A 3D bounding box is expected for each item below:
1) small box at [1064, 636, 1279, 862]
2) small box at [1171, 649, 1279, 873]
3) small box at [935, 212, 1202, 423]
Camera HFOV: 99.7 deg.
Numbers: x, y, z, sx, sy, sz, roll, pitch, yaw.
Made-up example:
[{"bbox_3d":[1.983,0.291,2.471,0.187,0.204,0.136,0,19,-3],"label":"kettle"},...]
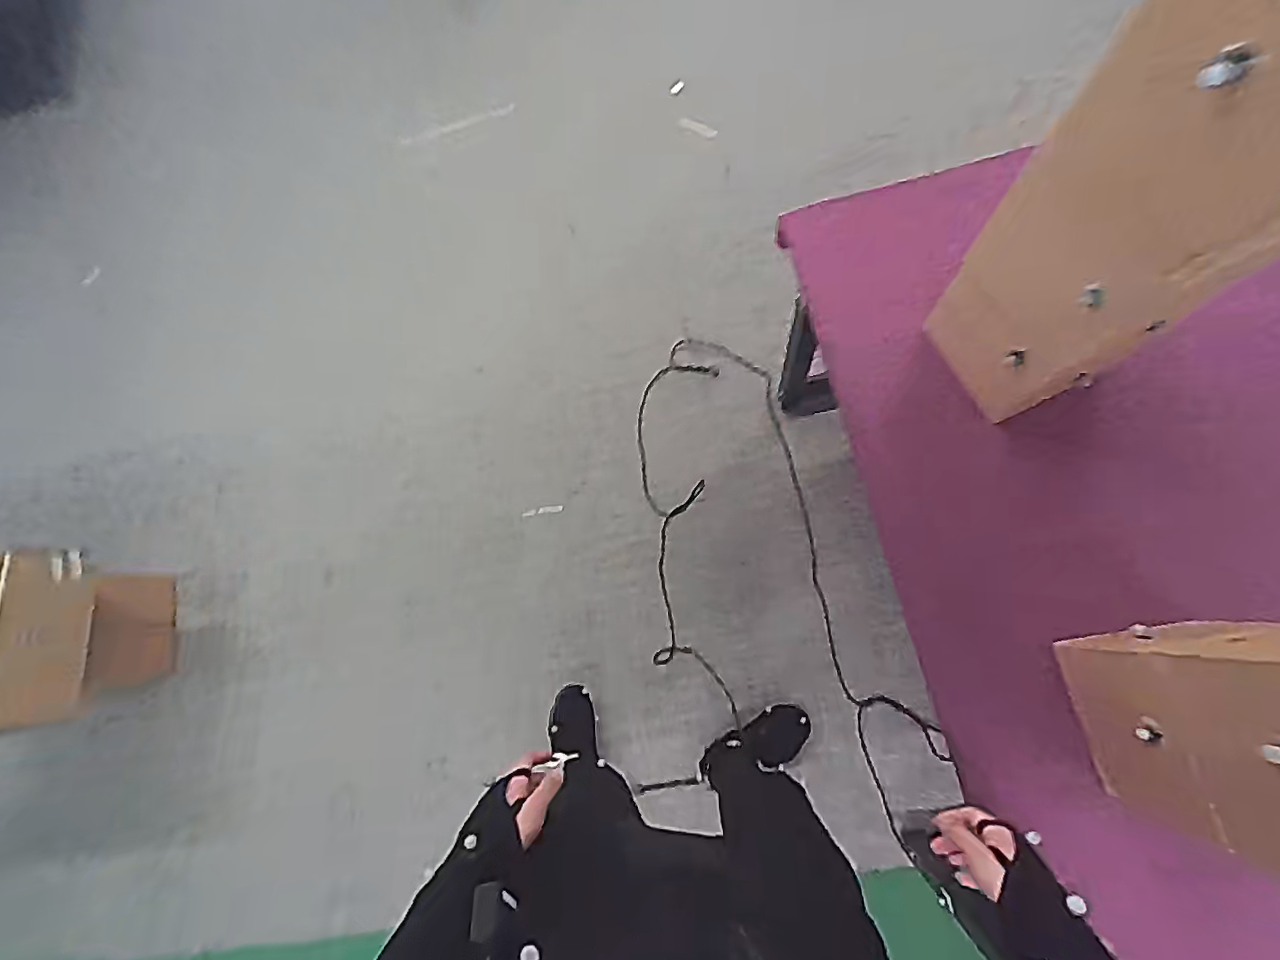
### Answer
[{"bbox_3d":[0.597,0.261,0.564,0.168,0.176,0.179,-10,74,6],"label":"small box"},{"bbox_3d":[0.576,0.218,0.408,0.168,0.176,0.179,-12,72,6],"label":"small box"},{"bbox_3d":[0.524,-0.191,0.695,0.168,0.176,0.179,-25,73,1],"label":"small box"}]
